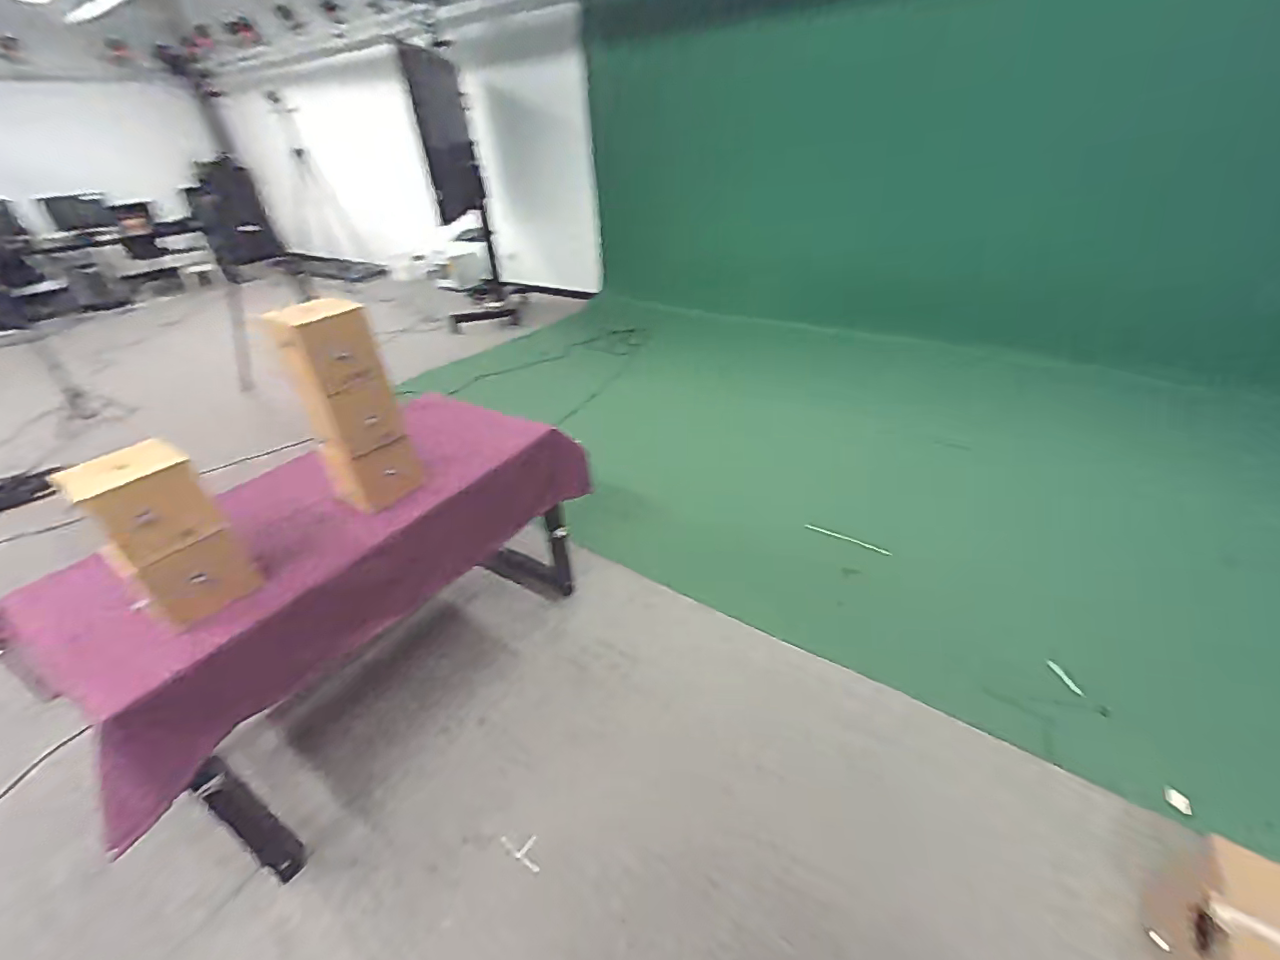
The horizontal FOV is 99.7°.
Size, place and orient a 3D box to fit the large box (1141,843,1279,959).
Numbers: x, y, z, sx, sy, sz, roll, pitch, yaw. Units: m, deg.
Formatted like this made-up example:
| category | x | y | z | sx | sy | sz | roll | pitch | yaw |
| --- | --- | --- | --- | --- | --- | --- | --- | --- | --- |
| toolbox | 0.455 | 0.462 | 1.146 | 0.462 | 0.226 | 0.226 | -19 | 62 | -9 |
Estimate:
| category | x | y | z | sx | sy | sz | roll | pitch | yaw |
| --- | --- | --- | --- | --- | --- | --- | --- | --- | --- |
| large box | 1.208 | 0.959 | 0.945 | 0.408 | 0.320 | 0.320 | 20 | 40 | 29 |

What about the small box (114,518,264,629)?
| category | x | y | z | sx | sy | sz | roll | pitch | yaw |
| --- | --- | --- | --- | --- | --- | --- | --- | --- | --- |
| small box | -0.939 | 0.176 | 1.145 | 0.168 | 0.176 | 0.179 | 18 | 40 | 30 |

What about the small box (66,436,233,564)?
| category | x | y | z | sx | sy | sz | roll | pitch | yaw |
| --- | --- | --- | --- | --- | --- | --- | --- | --- | --- |
| small box | -0.950 | 0.039 | 1.059 | 0.179 | 0.176 | 0.168 | 18 | 39 | 32 |

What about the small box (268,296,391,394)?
| category | x | y | z | sx | sy | sz | roll | pitch | yaw |
| --- | --- | --- | --- | --- | --- | --- | --- | --- | --- |
| small box | -0.720 | -0.317 | 1.268 | 0.179 | 0.176 | 0.168 | 20 | 41 | 33 |

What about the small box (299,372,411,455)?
| category | x | y | z | sx | sy | sz | roll | pitch | yaw |
| --- | --- | --- | --- | --- | --- | --- | --- | --- | --- |
| small box | -0.709 | -0.181 | 1.362 | 0.179 | 0.176 | 0.168 | 22 | 42 | 33 |
